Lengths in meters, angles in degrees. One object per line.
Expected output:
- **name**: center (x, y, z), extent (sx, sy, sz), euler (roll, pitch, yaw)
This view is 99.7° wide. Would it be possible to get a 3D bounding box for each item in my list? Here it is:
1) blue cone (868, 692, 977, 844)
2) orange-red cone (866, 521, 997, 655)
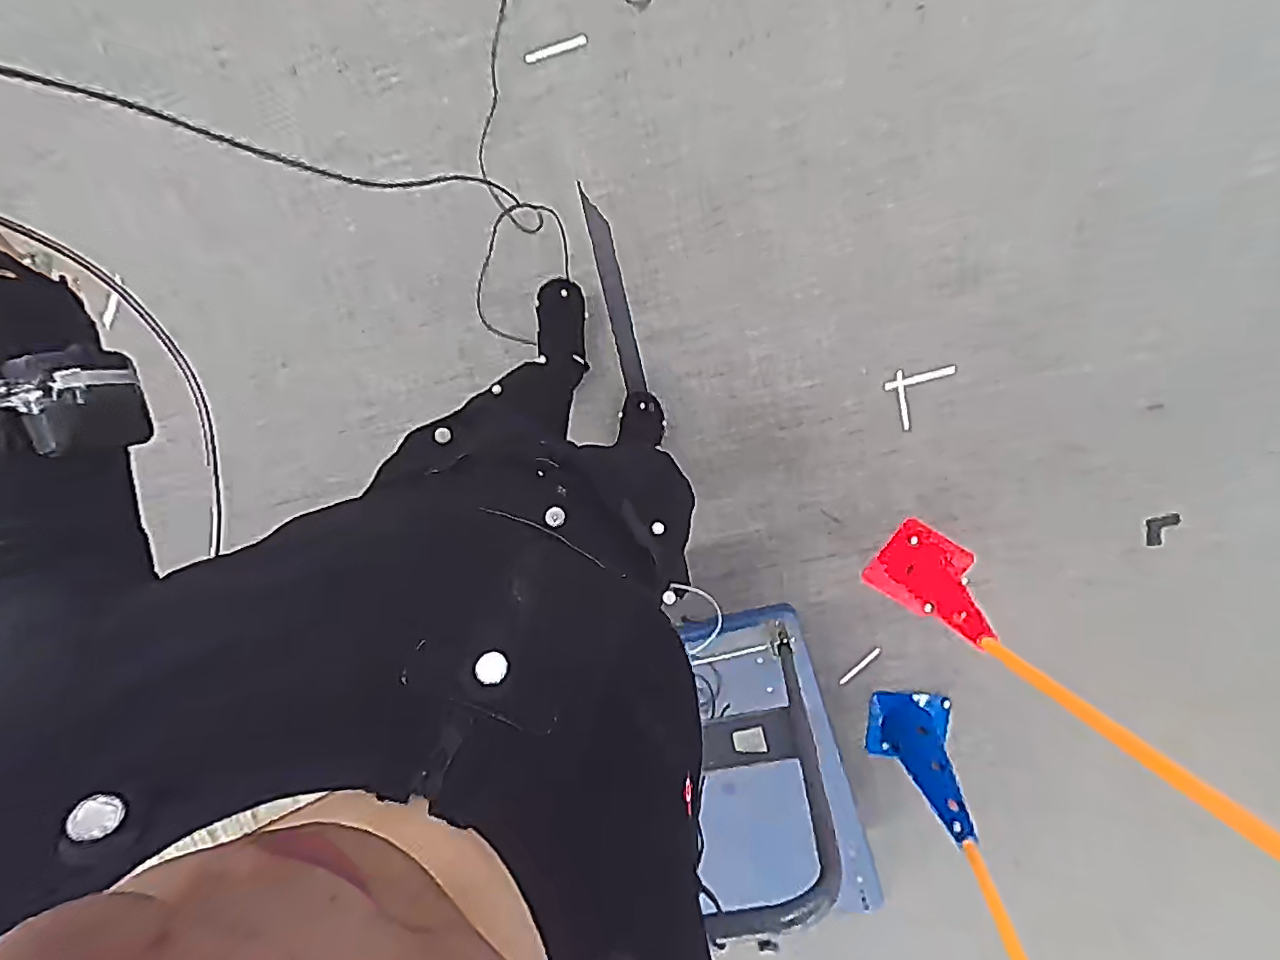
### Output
- **blue cone**: center (0.686, 0.689, 1.272), extent (0.193, 0.380, 0.192), euler (3, 103, 6)
- **orange-red cone**: center (0.659, 0.262, 1.154), extent (0.198, 0.360, 0.199), euler (33, 107, -1)
